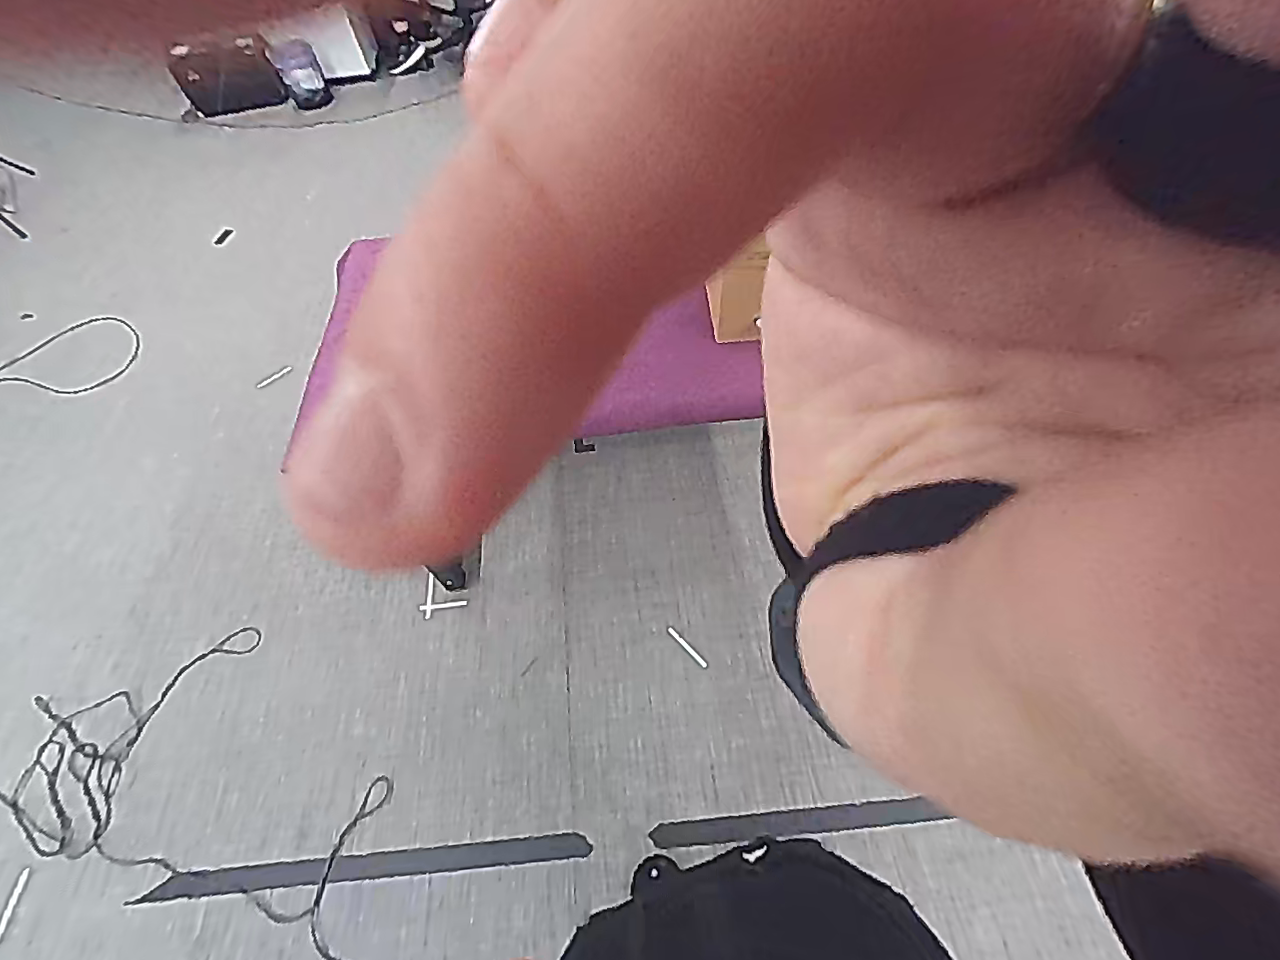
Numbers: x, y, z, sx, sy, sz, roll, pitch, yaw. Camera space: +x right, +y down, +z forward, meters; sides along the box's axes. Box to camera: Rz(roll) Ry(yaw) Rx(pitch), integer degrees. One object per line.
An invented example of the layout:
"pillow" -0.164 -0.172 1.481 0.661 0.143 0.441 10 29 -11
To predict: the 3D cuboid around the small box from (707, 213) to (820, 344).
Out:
"small box" 0.218 -0.378 1.005 0.168 0.176 0.179 -5 57 2
